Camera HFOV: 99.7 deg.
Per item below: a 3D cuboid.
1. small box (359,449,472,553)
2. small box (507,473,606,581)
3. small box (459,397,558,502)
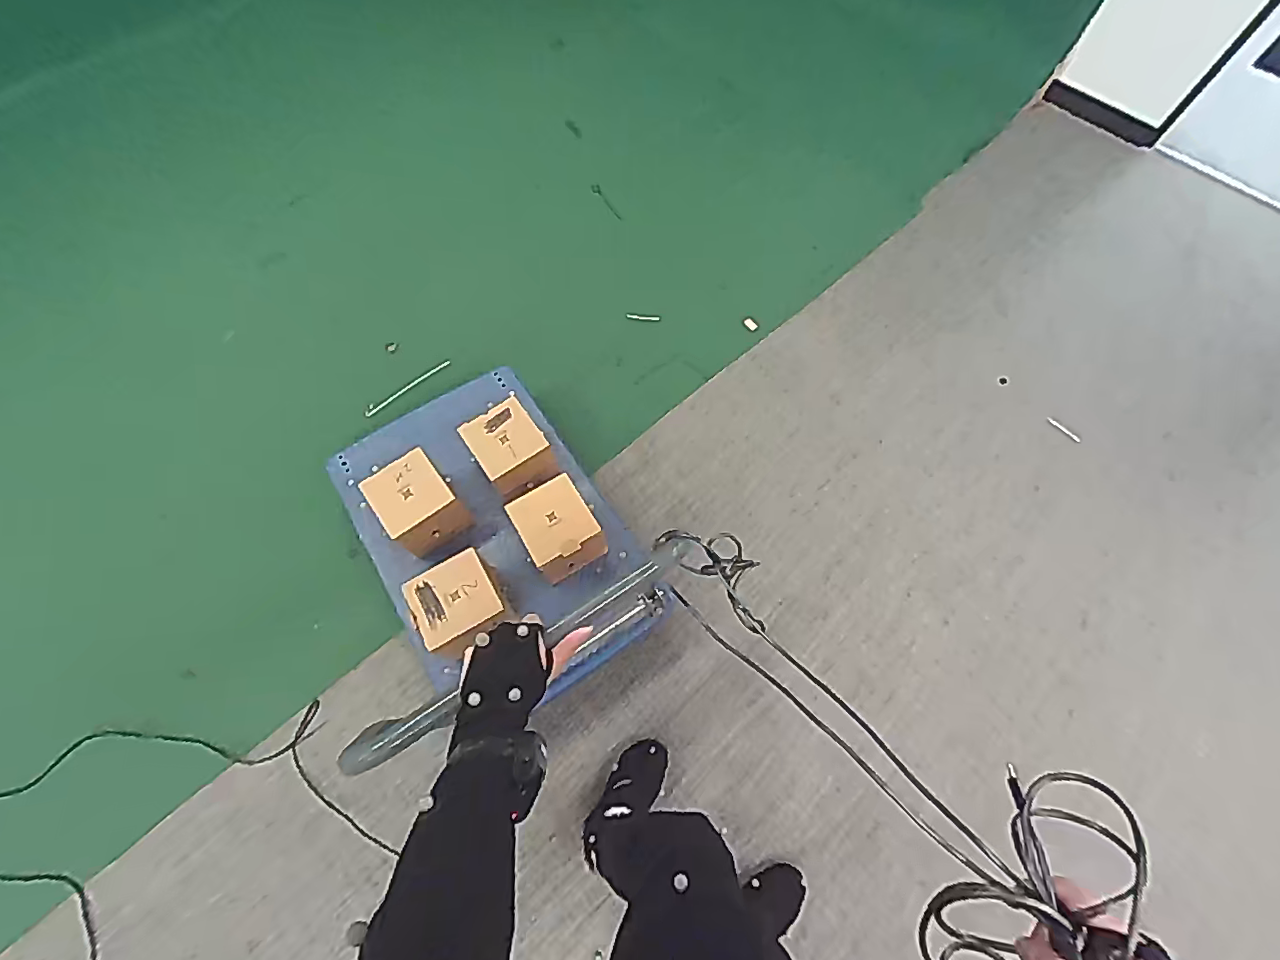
[{"bbox_3d":[-0.542,0.062,1.331,0.168,0.176,0.179,-35,71,-14],"label":"small box"},{"bbox_3d":[-0.196,0.120,1.305,0.168,0.176,0.179,-31,71,-11],"label":"small box"},{"bbox_3d":[-0.331,-0.073,1.385,0.168,0.176,0.179,-34,72,-12],"label":"small box"}]
